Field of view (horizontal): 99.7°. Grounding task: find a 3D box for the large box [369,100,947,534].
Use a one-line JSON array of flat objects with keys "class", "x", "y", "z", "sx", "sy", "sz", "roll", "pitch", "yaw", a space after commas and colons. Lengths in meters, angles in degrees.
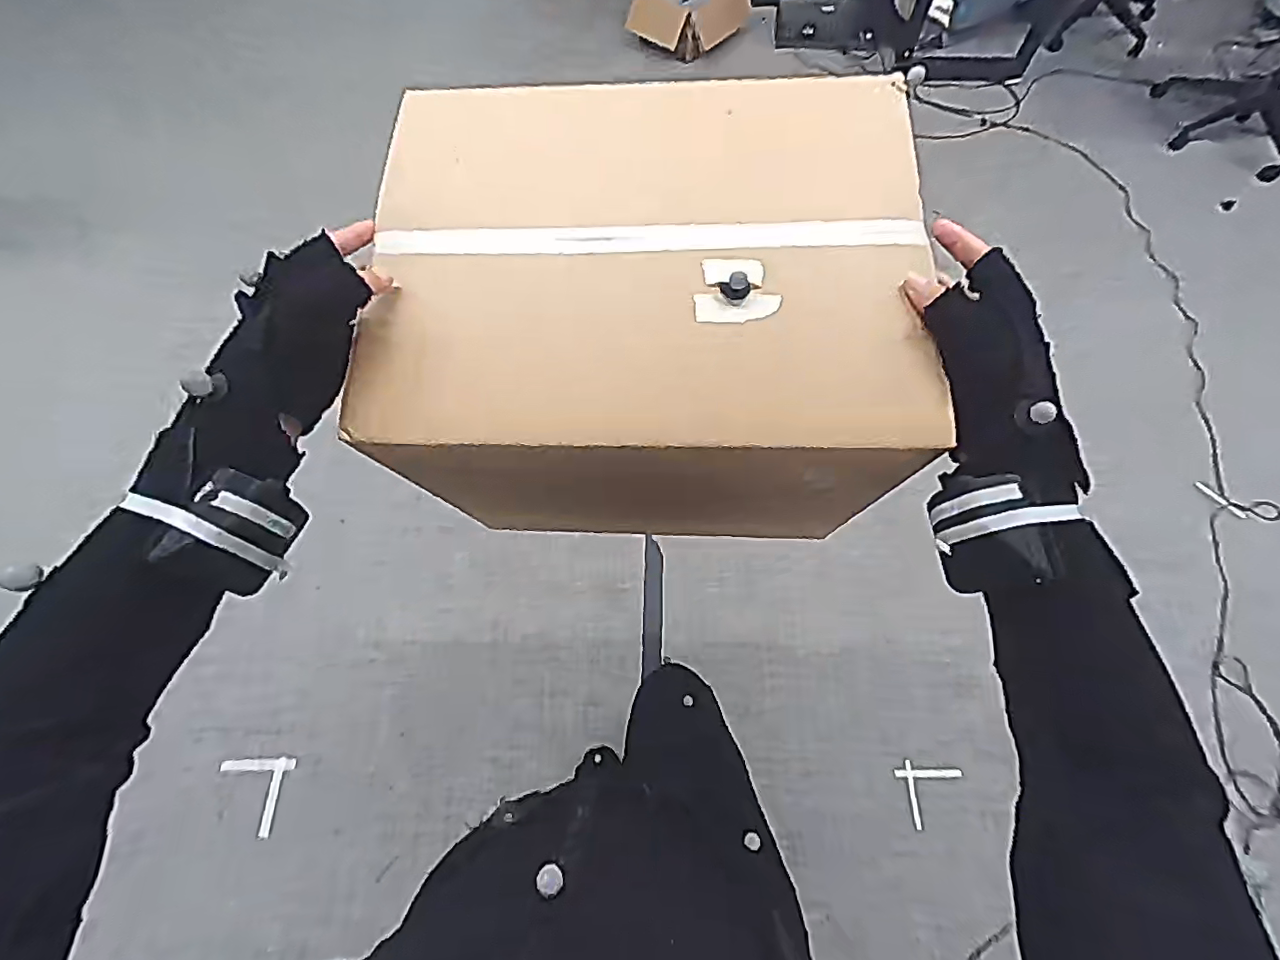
[{"class": "large box", "x": 0.015, "y": -0.126, "z": 0.553, "sx": 0.408, "sy": 0.320, "sz": 0.320, "roll": 1, "pitch": 74, "yaw": 3}]
